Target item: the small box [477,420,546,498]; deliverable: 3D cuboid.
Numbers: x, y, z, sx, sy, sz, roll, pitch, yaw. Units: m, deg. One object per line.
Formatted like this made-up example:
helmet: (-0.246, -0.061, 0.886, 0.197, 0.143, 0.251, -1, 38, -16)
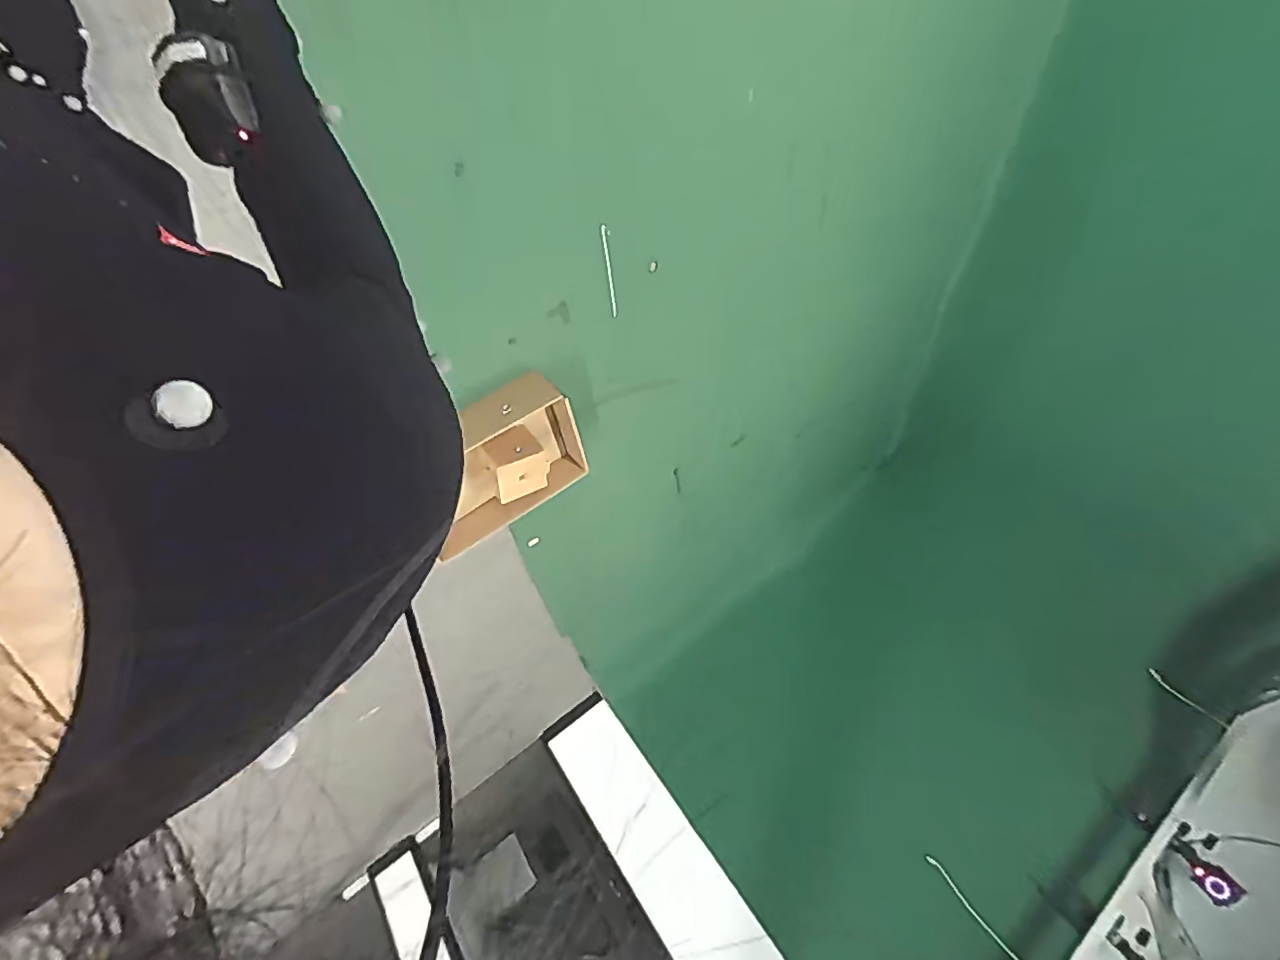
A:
small box: (-0.436, -0.075, 1.829, 0.179, 0.176, 0.168, -24, 142, -27)
